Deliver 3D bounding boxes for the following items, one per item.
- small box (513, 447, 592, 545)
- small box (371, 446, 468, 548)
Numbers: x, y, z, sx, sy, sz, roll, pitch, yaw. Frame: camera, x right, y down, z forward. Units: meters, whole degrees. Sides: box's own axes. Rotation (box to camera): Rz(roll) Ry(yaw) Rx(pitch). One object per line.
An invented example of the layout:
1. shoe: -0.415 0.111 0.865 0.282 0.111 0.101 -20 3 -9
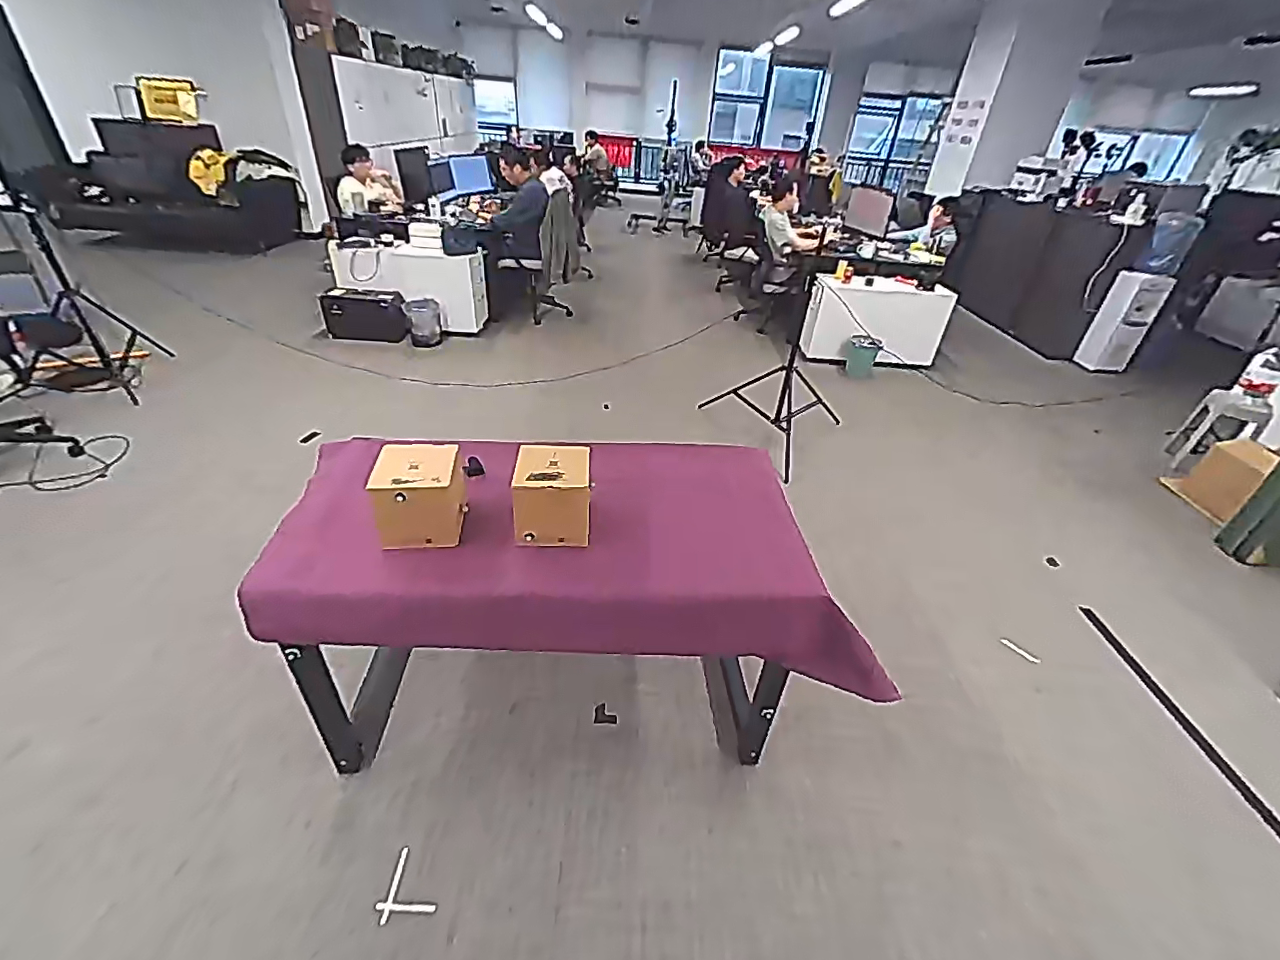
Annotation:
1. small box: -0.197 0.038 1.266 0.168 0.176 0.179 2 33 -5
2. small box: -0.491 0.037 1.229 0.168 0.176 0.179 -2 34 -10
